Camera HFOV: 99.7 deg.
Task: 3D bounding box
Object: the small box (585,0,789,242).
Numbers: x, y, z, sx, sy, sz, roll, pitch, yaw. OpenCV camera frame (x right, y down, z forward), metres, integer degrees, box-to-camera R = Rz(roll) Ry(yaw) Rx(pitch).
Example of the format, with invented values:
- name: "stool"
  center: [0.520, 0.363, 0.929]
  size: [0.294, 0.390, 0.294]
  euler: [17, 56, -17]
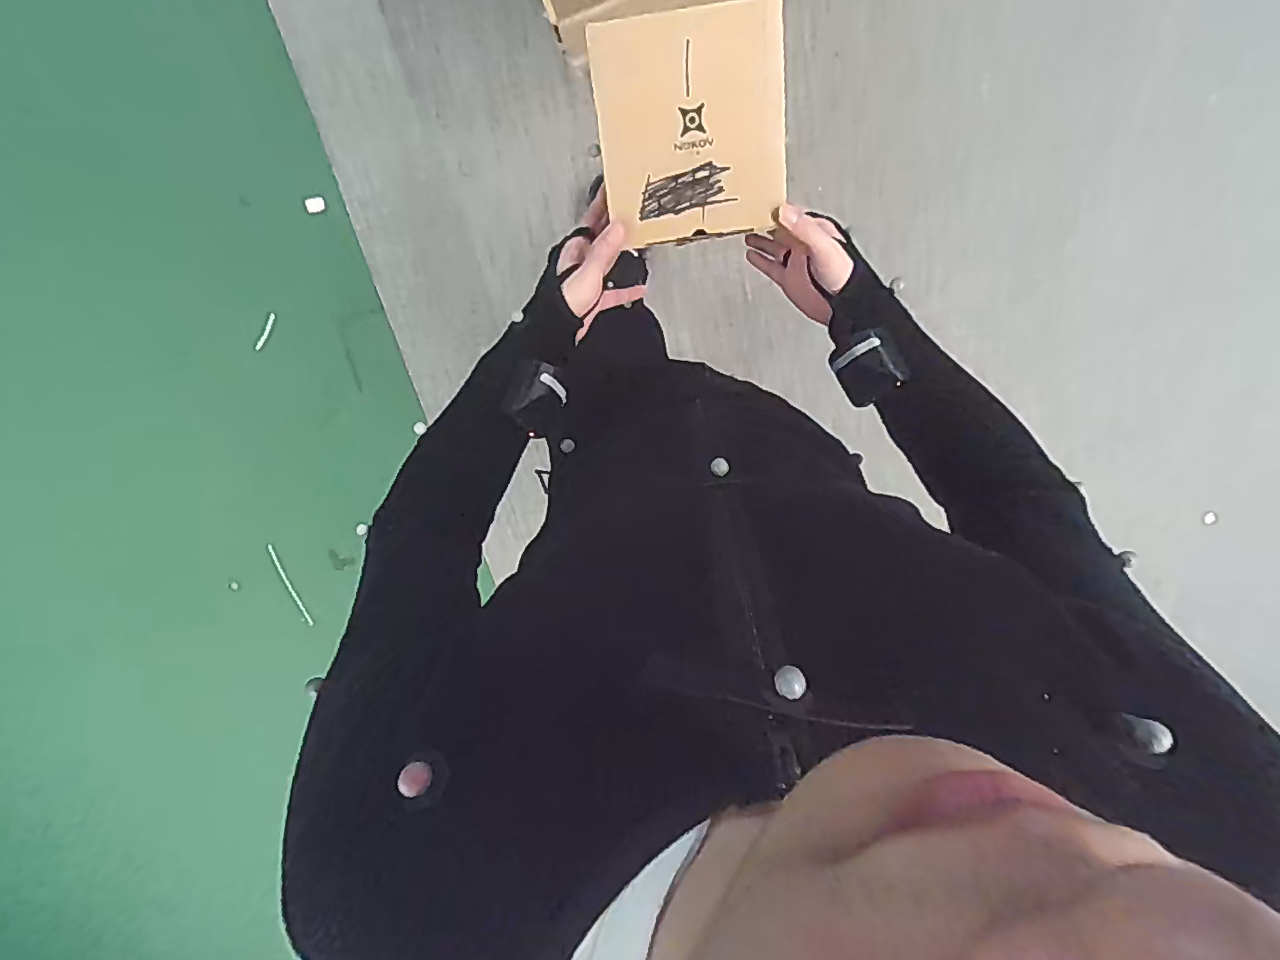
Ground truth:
- name: "small box"
  center: [0.046, -0.340, 0.535]
  size: [0.168, 0.176, 0.179]
  euler: [-7, 112, 2]
